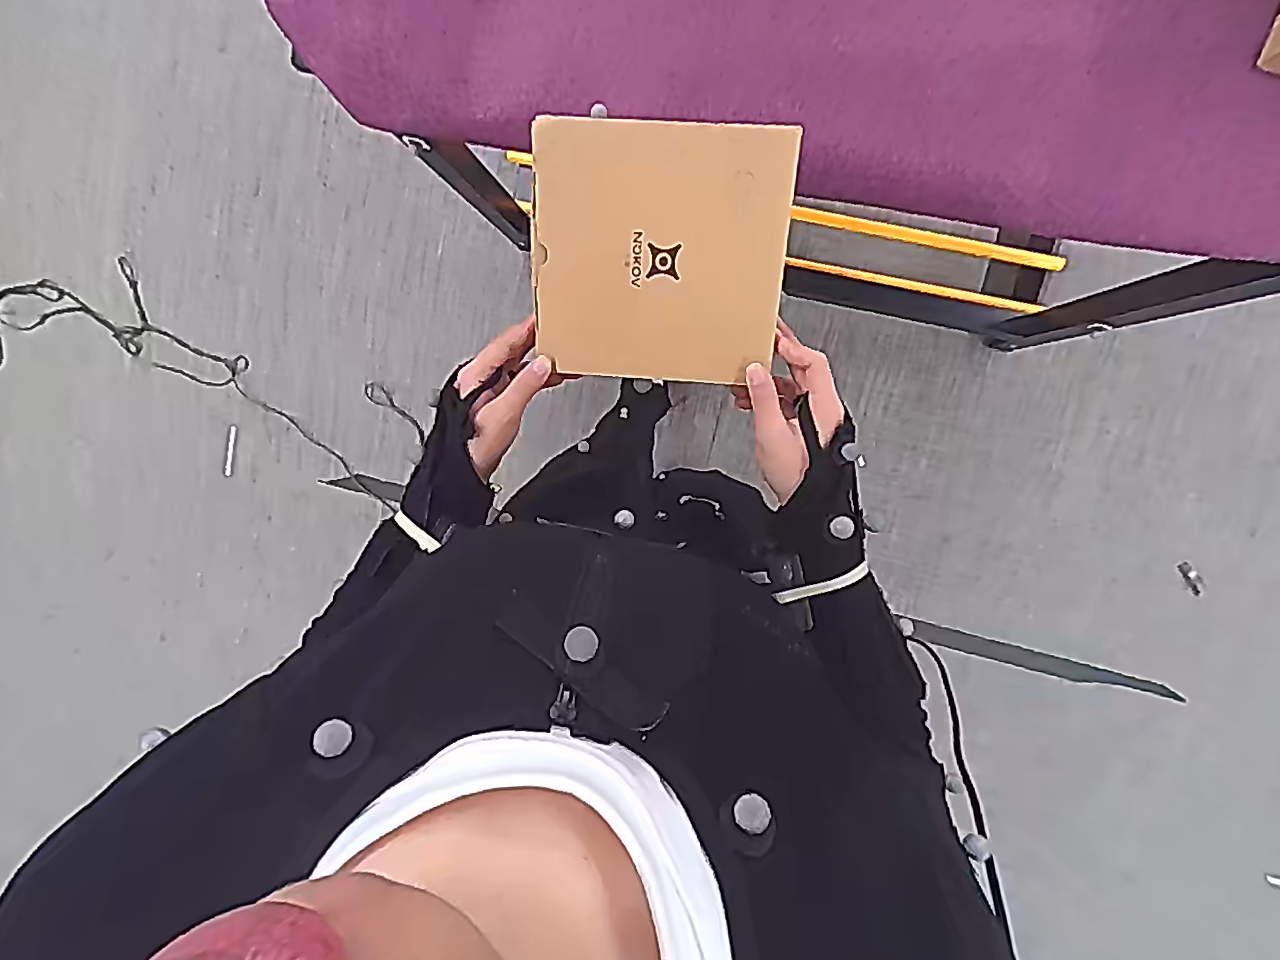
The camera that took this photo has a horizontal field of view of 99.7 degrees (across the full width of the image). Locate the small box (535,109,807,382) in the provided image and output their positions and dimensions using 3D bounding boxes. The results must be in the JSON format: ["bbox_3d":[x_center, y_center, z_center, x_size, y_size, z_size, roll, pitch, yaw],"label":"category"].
[{"bbox_3d":[0.021,-0.181,0.442,0.179,0.176,0.168,5,110,4],"label":"small box"}]
